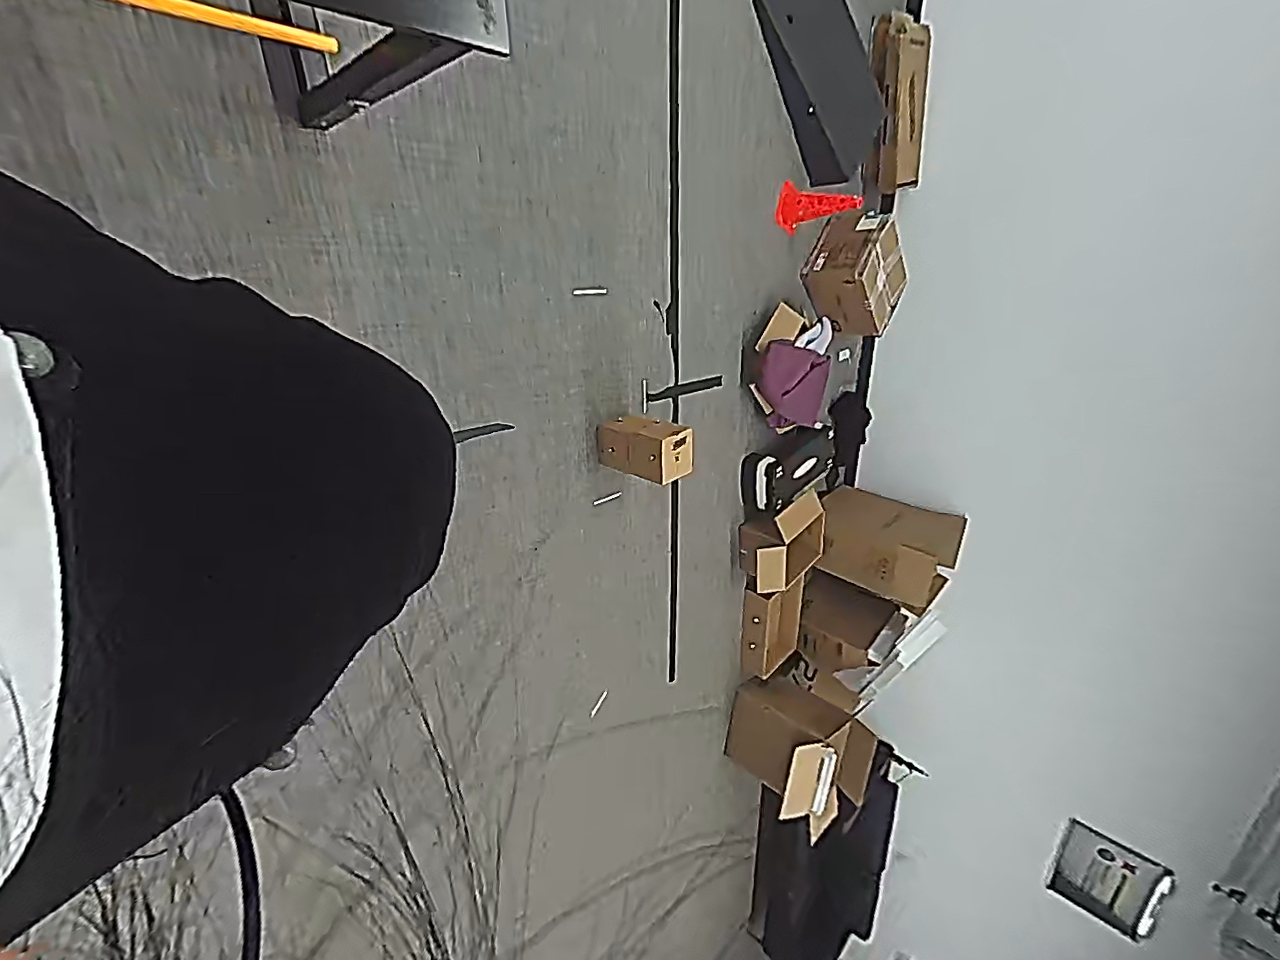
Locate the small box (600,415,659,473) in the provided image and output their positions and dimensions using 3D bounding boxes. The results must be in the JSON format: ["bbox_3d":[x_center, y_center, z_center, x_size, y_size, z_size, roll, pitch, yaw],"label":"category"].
[{"bbox_3d":[-0.042,-0.144,2.086,0.179,0.176,0.168,-24,122,-40],"label":"small box"}]

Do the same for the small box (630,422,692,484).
[{"bbox_3d":[0.075,-0.108,1.973,0.168,0.176,0.179,-24,123,-40],"label":"small box"}]
